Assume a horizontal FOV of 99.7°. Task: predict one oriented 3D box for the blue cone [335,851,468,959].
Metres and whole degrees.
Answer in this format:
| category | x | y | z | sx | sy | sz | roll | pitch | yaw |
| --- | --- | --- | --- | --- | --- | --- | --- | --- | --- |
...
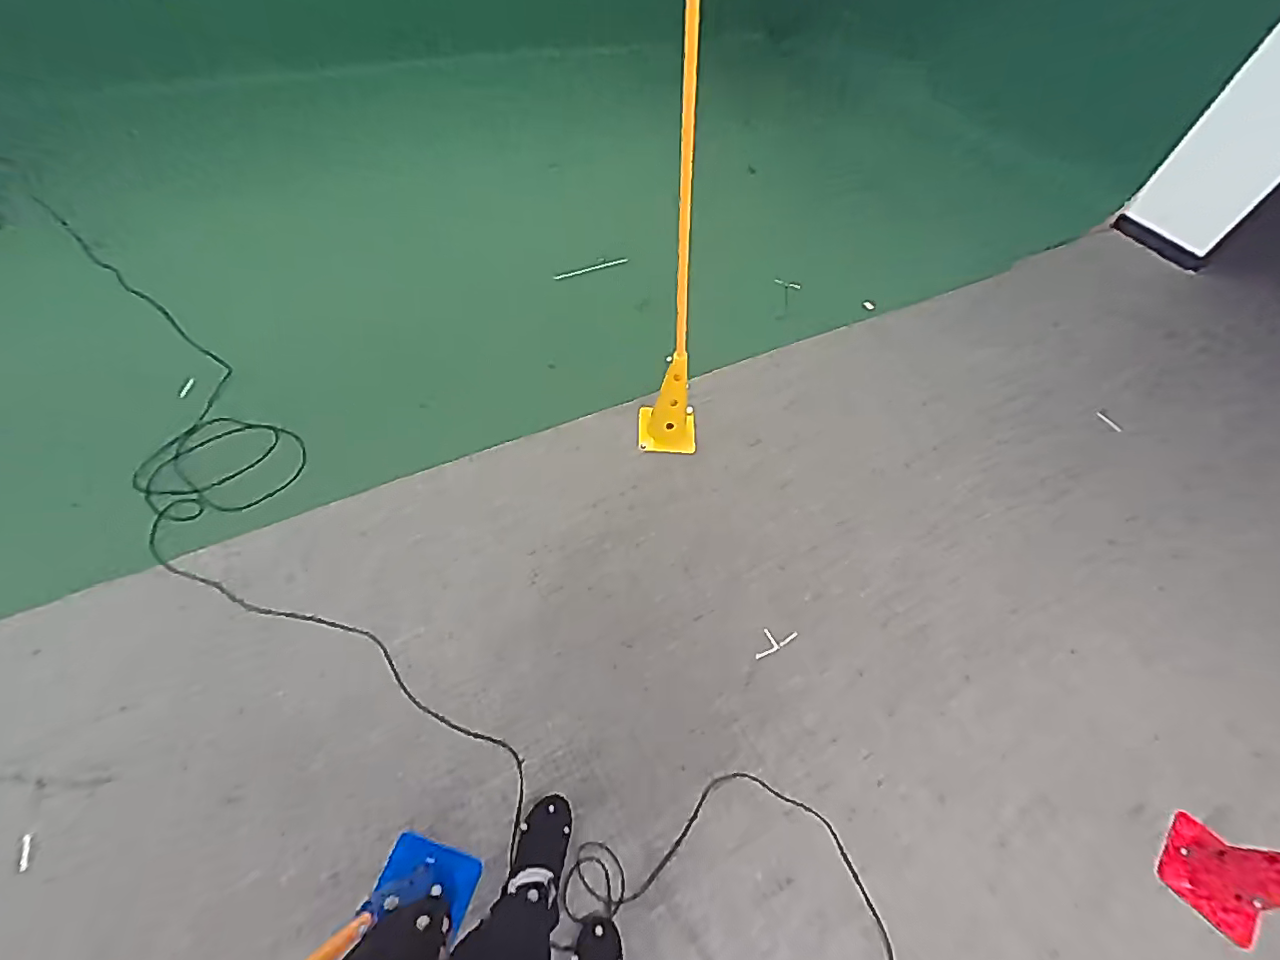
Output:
| category | x | y | z | sx | sy | sz | roll | pitch | yaw |
| --- | --- | --- | --- | --- | --- | --- | --- | --- | --- |
| blue cone | -0.450 | 0.803 | 0.970 | 0.192 | 0.380 | 0.193 | 16 | 57 | 4 |
